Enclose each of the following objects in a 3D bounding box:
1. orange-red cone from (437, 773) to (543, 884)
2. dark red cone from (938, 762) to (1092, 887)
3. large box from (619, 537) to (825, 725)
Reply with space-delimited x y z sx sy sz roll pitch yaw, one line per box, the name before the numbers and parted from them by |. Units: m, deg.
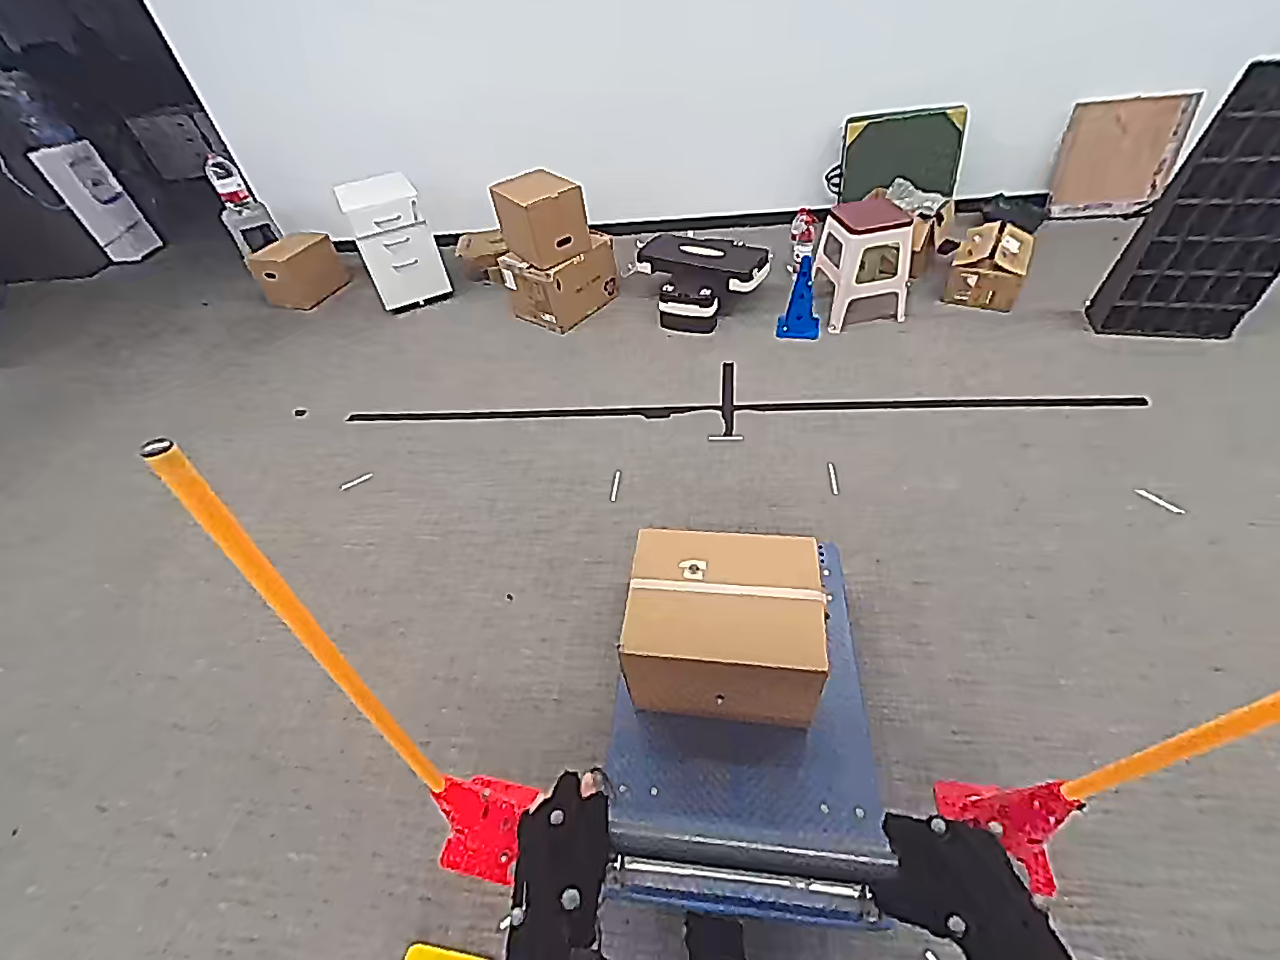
orange-red cone | -0.365 0.713 1.181 0.198 0.360 0.199 6 46 13
dark red cone | 0.760 0.638 1.056 0.201 0.394 0.202 1 47 7
large box | 0.190 0.348 1.250 0.408 0.320 0.320 1 47 11
